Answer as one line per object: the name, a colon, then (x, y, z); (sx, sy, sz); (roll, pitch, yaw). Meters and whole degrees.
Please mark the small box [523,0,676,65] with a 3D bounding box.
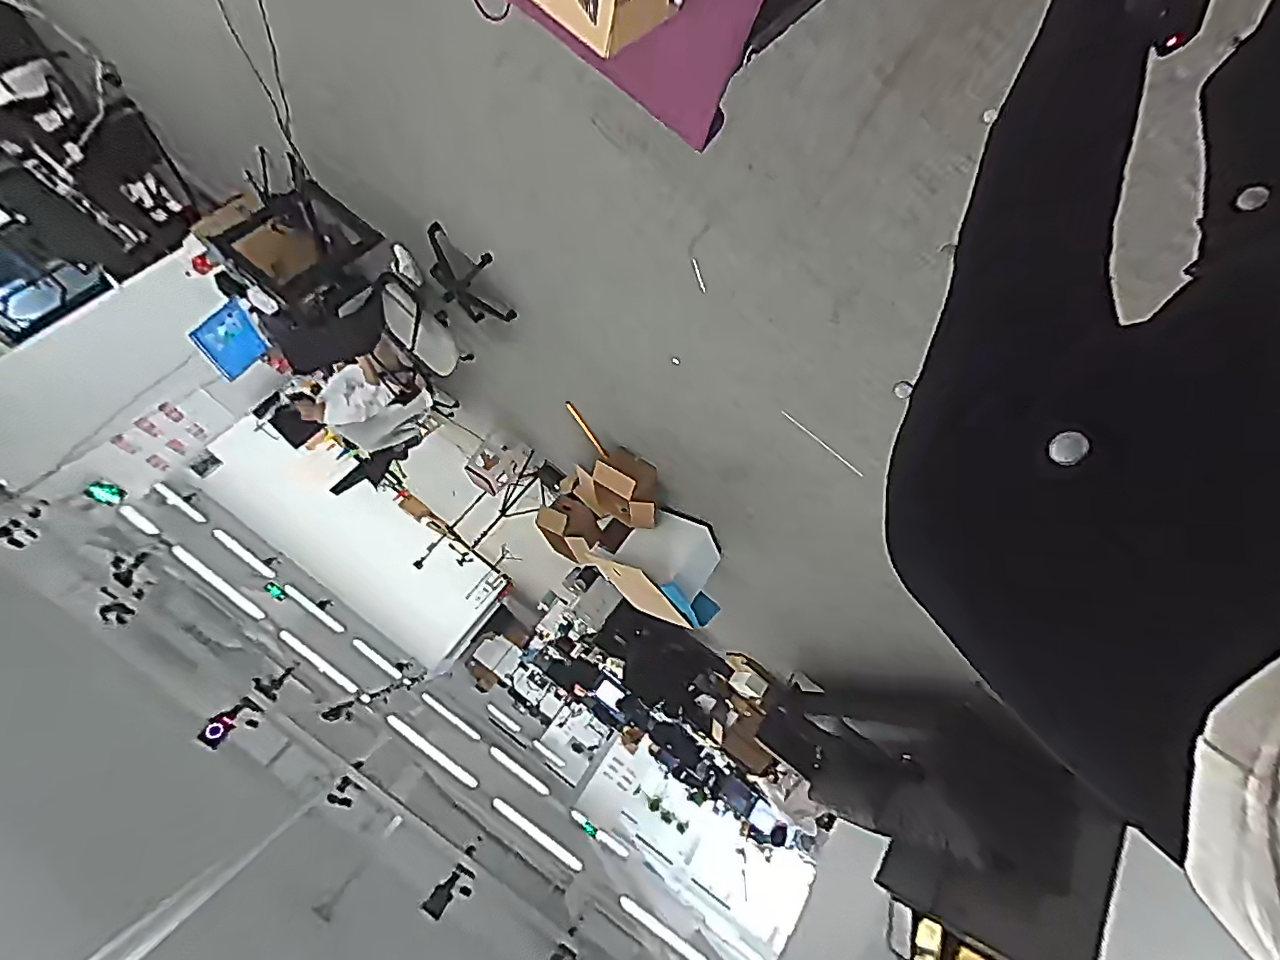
small box: (-0.043, -0.667, 0.651); (0.179, 0.176, 0.168); (40, 157, 1)
